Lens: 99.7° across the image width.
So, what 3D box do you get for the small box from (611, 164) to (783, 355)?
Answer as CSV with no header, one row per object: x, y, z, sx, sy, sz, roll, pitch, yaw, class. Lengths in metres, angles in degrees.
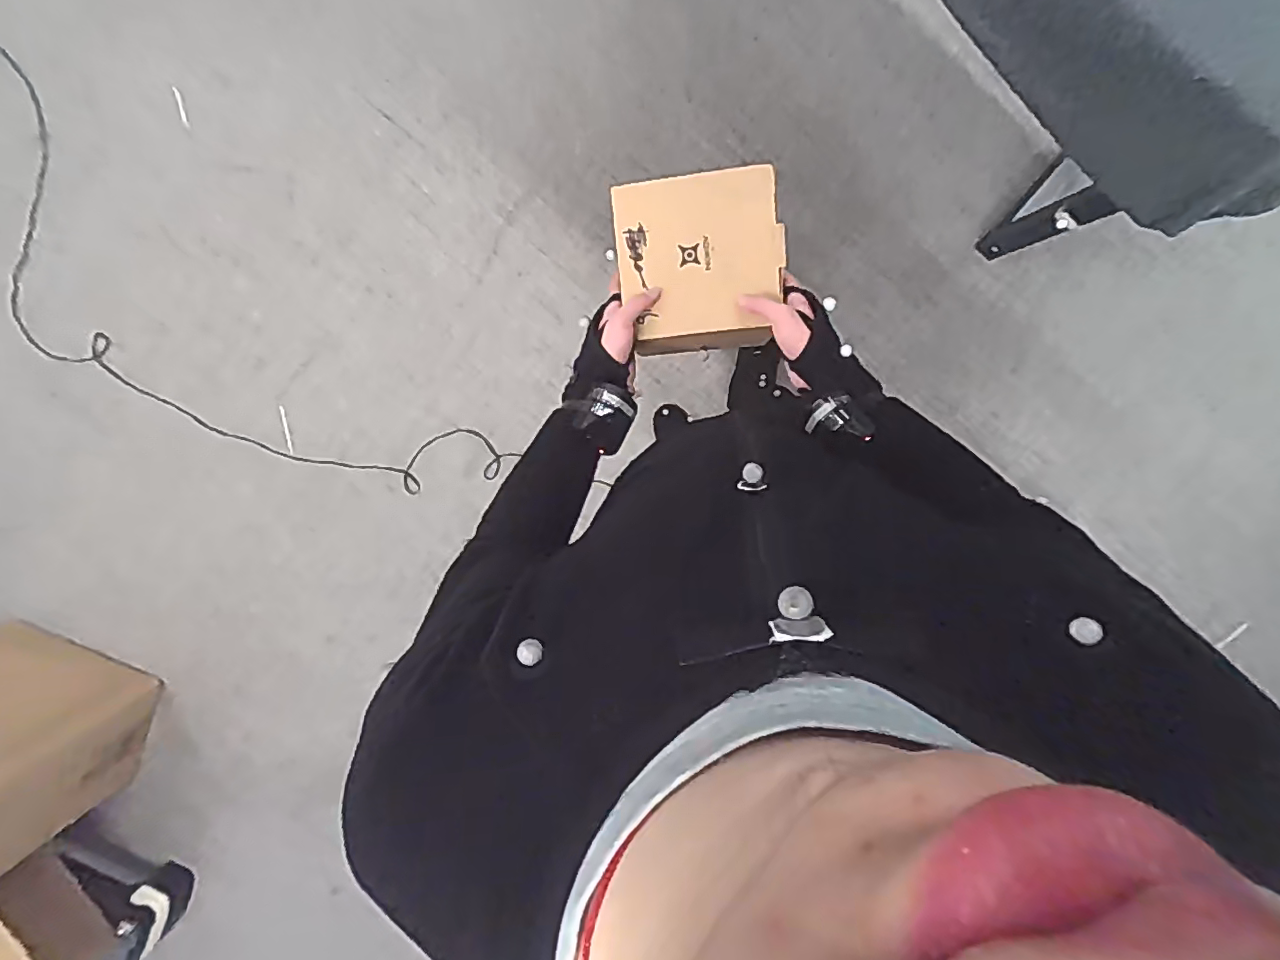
0.066,-0.249,0.652,0.179,0.176,0.168,-4,95,6,small box
